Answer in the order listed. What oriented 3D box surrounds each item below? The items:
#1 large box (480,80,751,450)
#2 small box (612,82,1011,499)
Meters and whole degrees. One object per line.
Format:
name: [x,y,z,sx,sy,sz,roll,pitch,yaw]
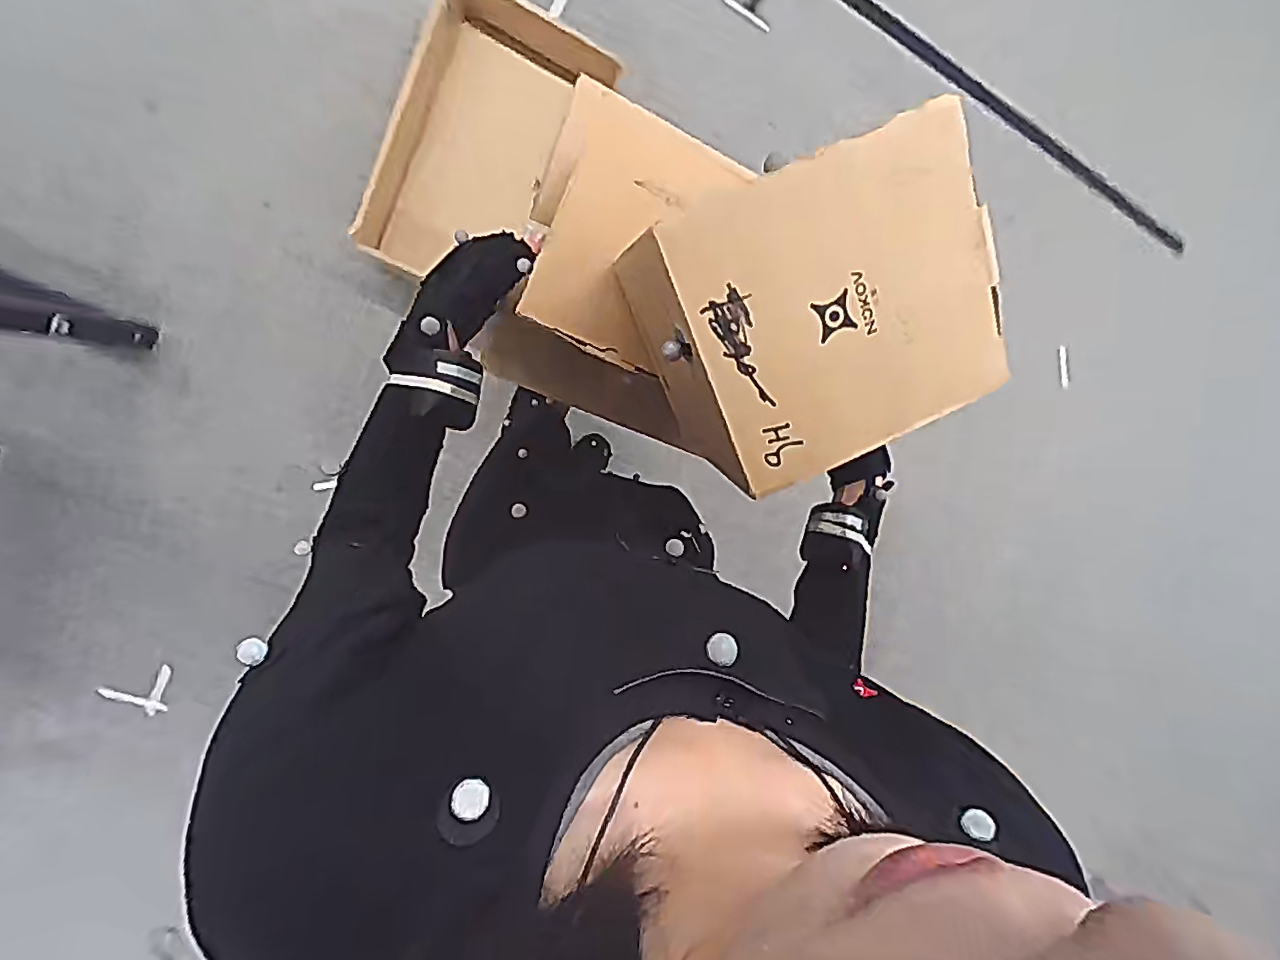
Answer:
large box: [0.027,-0.238,0.750,0.408,0.320,0.320,19,101,-16]
small box: [0.097,-0.116,0.366,0.179,0.176,0.168,-26,108,-2]
